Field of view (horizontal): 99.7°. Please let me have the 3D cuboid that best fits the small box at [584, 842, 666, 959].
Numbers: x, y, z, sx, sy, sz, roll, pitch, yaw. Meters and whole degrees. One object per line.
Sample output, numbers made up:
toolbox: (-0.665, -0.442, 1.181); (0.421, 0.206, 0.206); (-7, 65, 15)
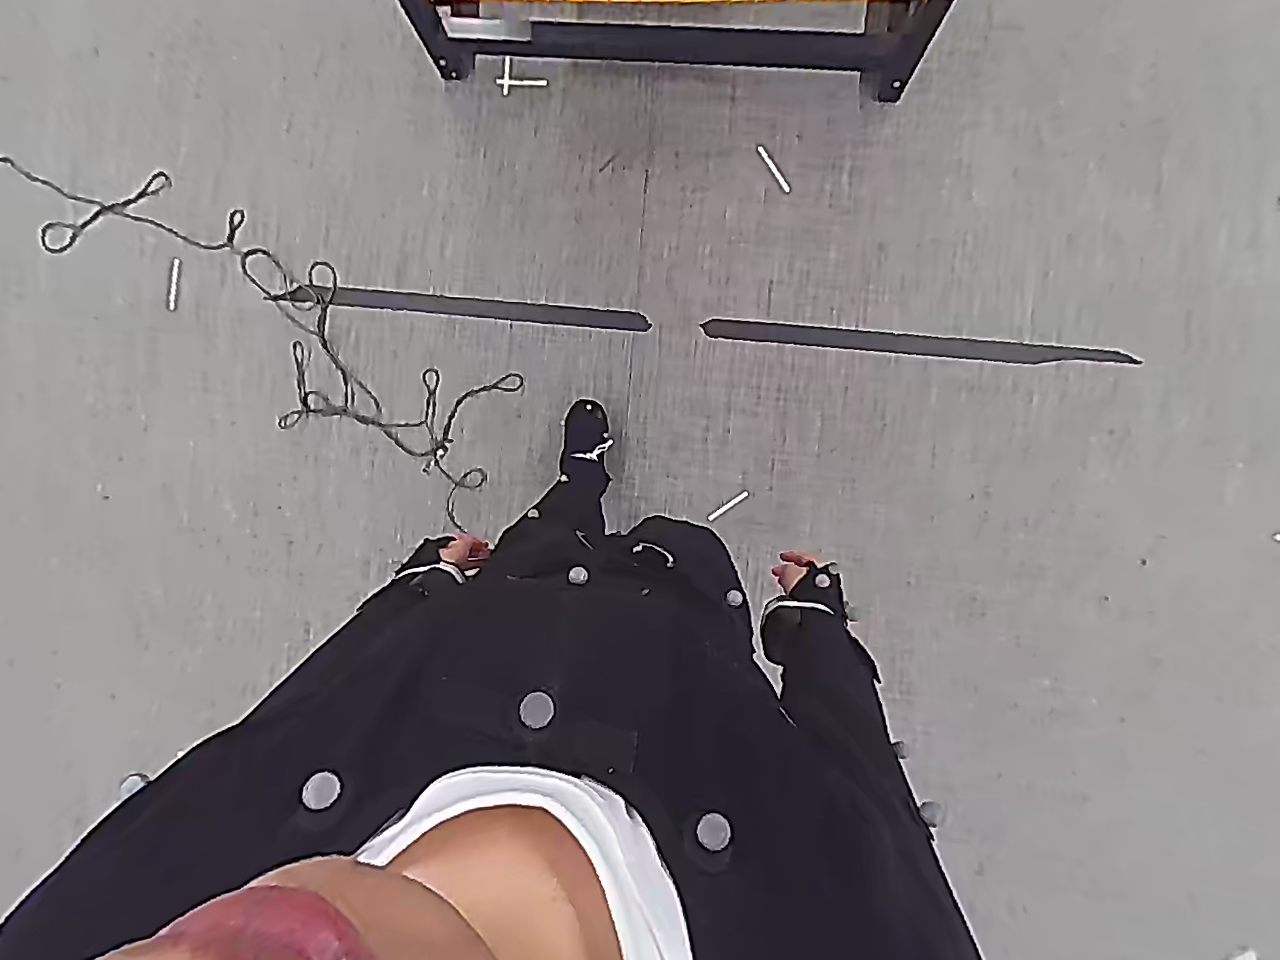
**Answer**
small box: (-0.031, 1.006, 1.298); (0.179, 0.176, 0.168); (4, 89, 3)
